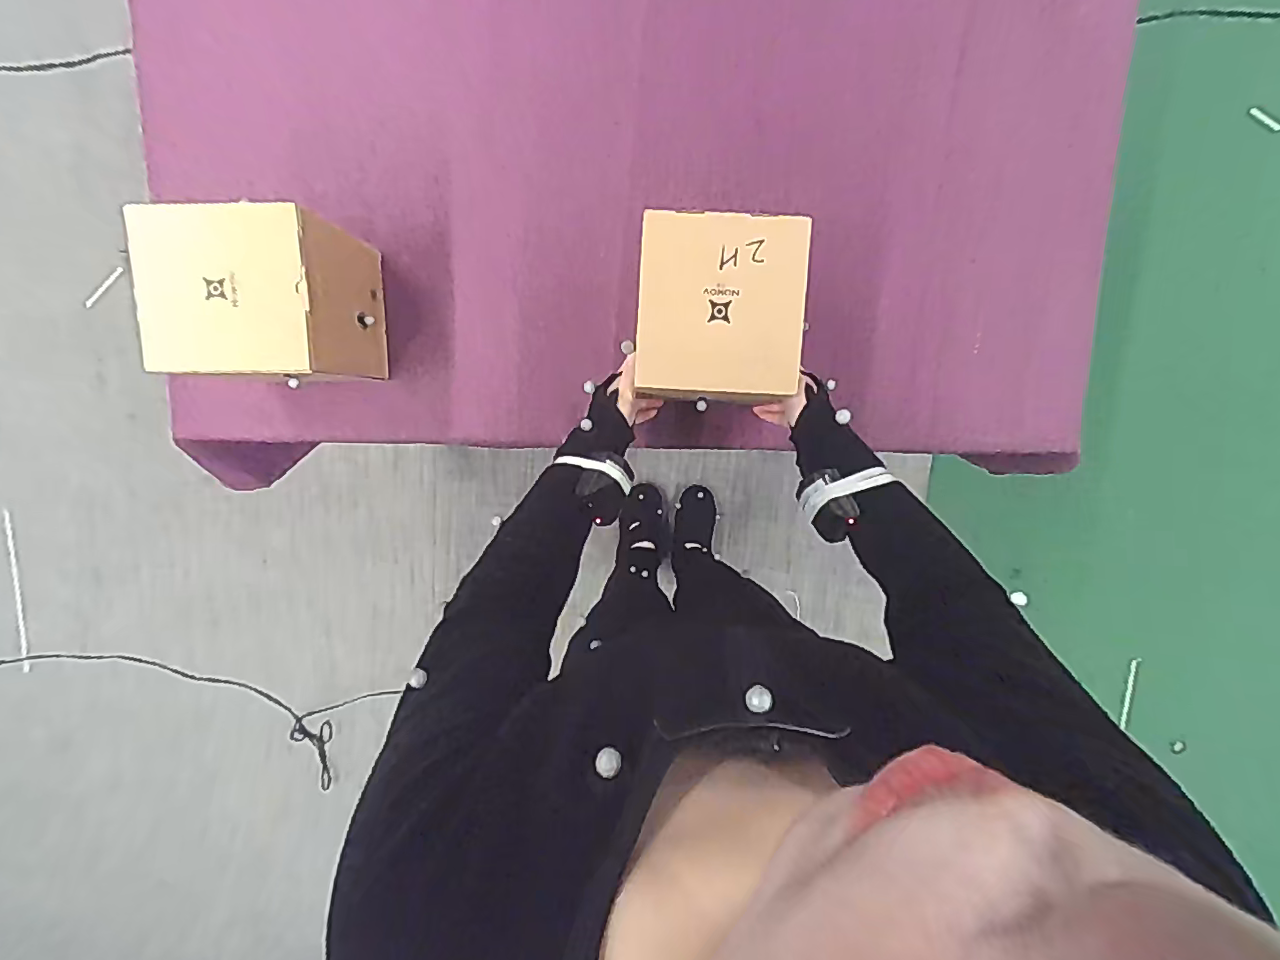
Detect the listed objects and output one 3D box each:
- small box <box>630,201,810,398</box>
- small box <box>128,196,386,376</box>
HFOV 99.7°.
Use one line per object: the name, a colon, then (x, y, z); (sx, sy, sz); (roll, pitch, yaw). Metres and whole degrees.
small box: (0.081, -0.187, 0.609); (0.168, 0.176, 0.179); (4, 94, 2)
small box: (-0.422, -0.209, 0.625); (0.179, 0.176, 0.168); (-1, 98, 0)
